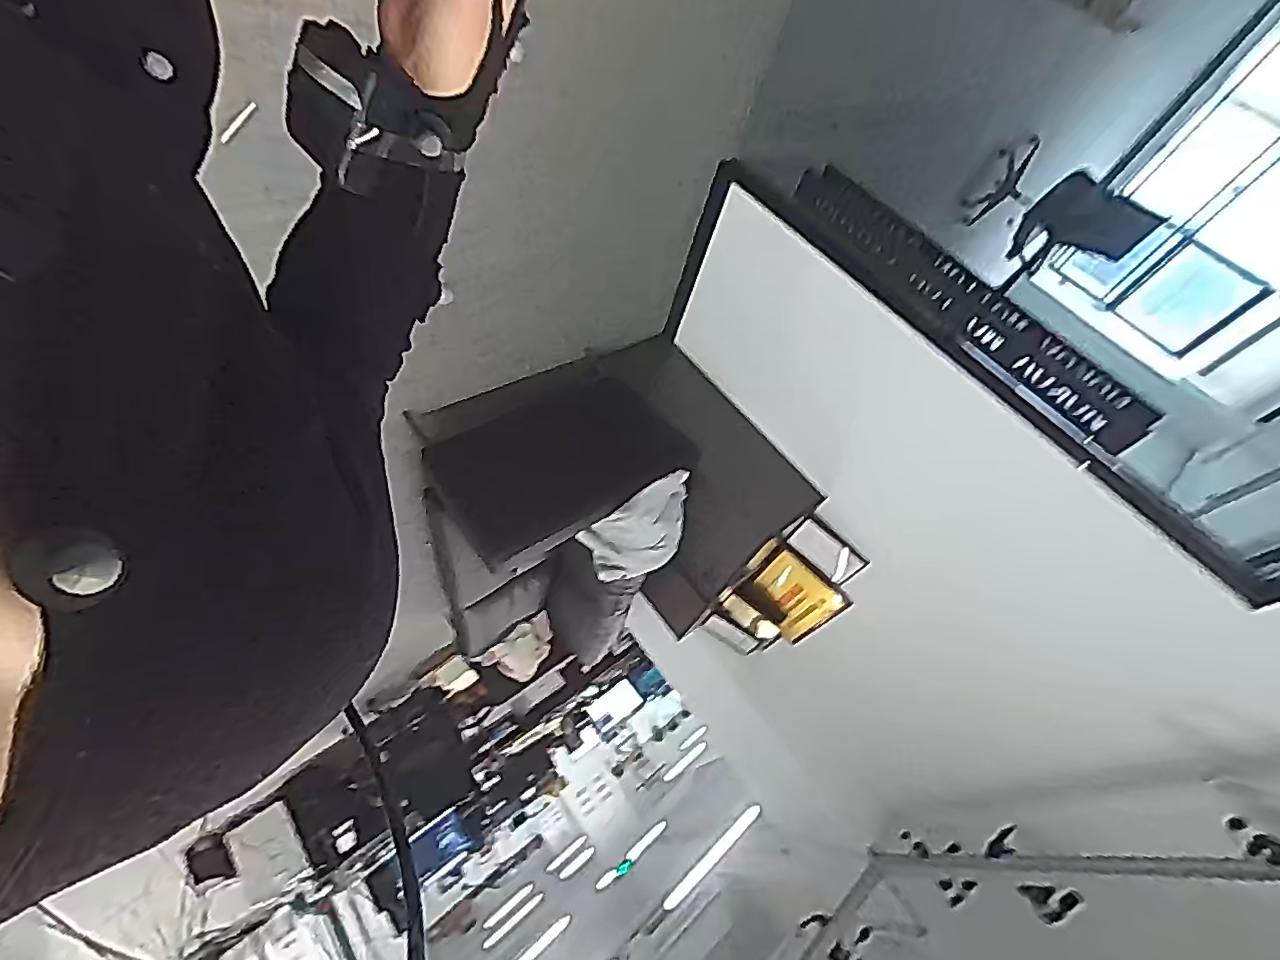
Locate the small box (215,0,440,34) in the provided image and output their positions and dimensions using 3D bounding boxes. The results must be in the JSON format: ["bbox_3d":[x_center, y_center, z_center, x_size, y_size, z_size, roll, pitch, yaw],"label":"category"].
[{"bbox_3d":[-0.097,-0.267,0.139,0.168,0.176,0.179,-39,160,-25],"label":"small box"}]
